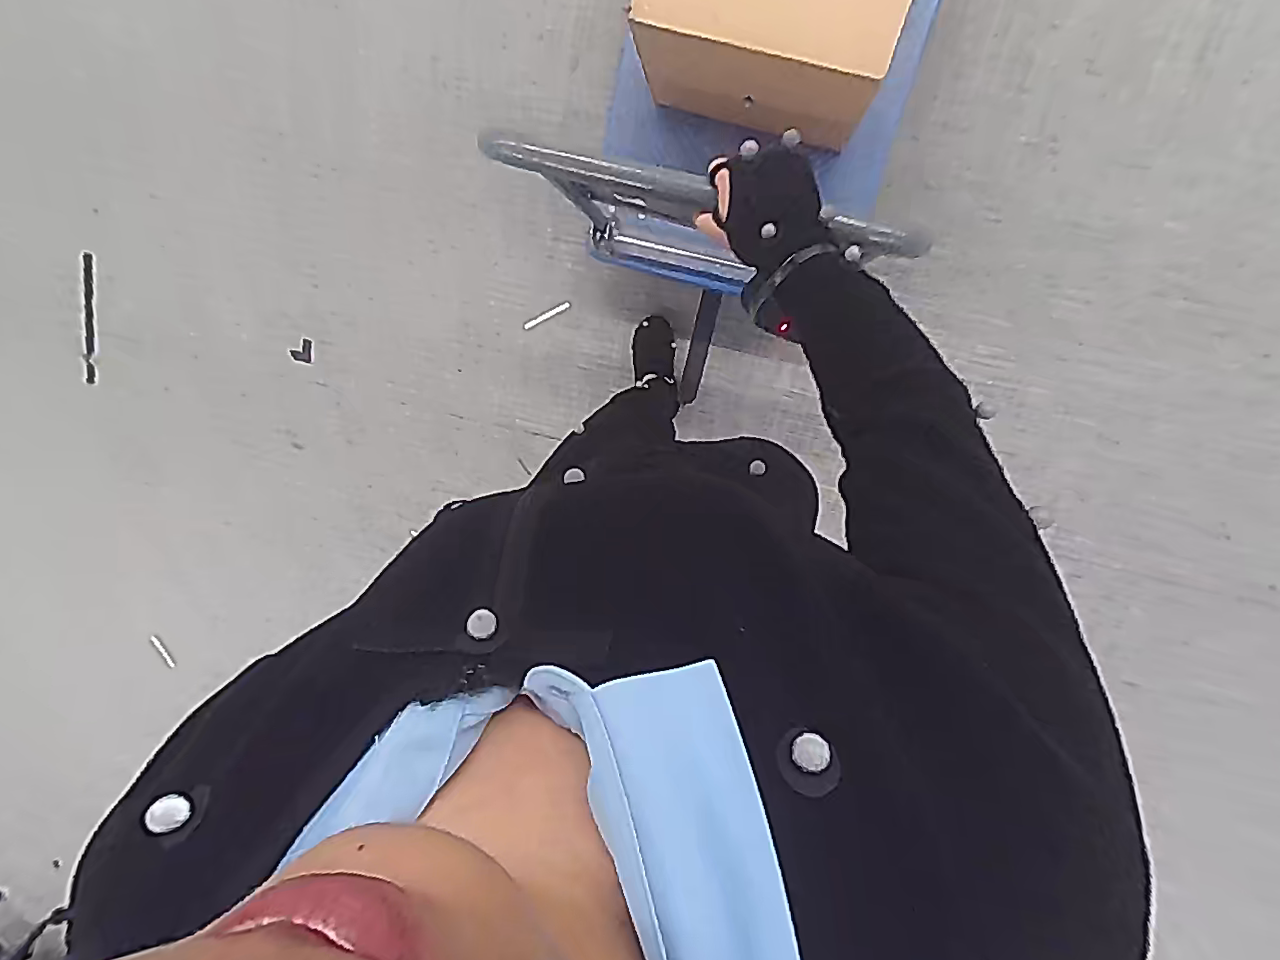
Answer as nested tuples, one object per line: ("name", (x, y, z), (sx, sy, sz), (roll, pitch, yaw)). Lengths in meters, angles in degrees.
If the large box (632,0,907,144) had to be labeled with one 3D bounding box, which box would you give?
("large box", (0.240, -0.839, 0.935), (0.408, 0.320, 0.320), (18, 105, 5))
